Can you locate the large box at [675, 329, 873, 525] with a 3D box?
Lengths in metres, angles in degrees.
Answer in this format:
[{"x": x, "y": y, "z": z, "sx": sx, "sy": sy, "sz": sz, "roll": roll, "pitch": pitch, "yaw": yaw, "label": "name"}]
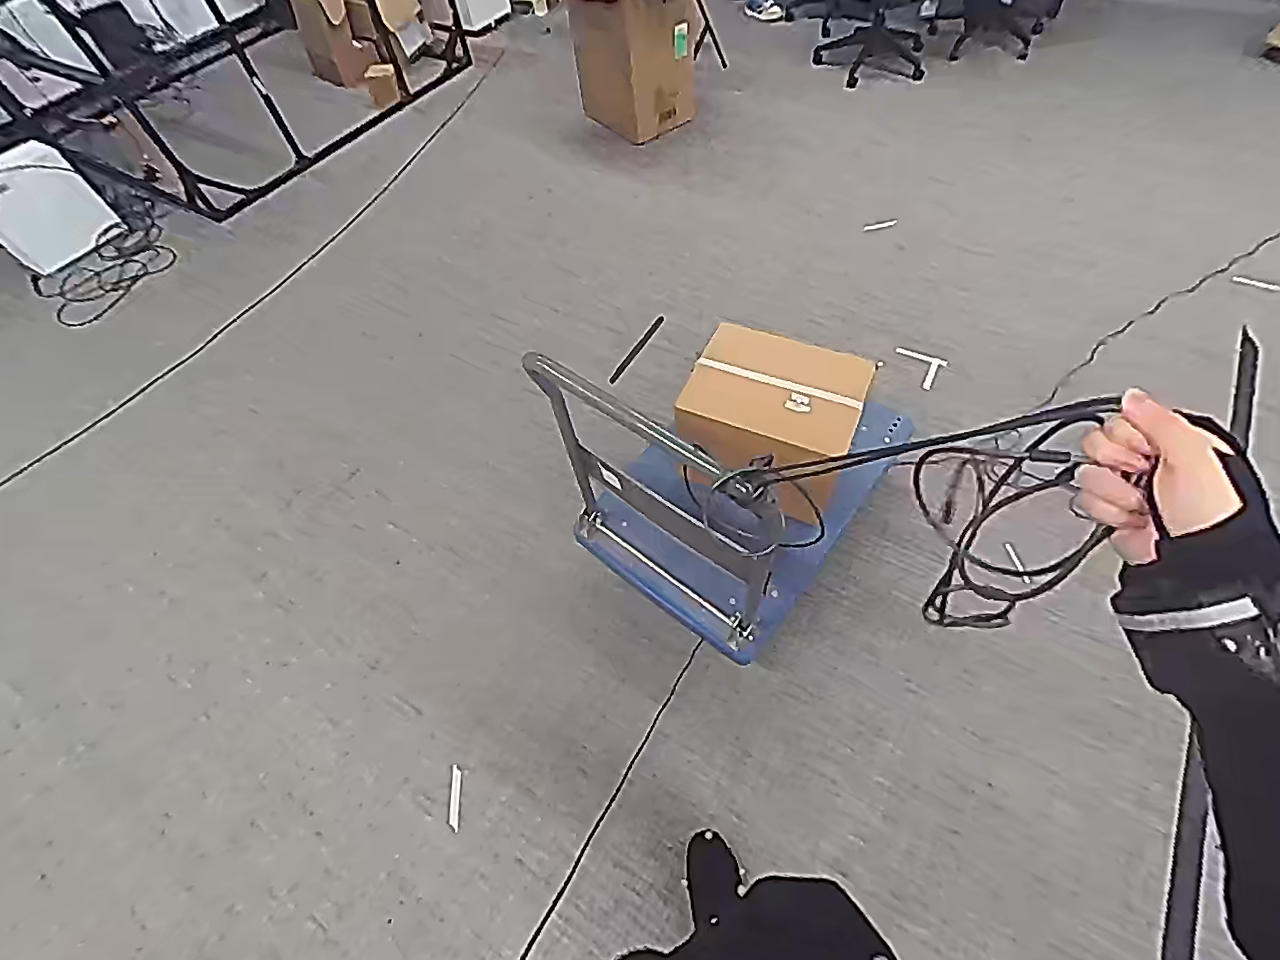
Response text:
[{"x": 0.331, "y": -0.136, "z": 1.411, "sx": 0.408, "sy": 0.320, "sz": 0.320, "roll": 20, "pitch": 62, "yaw": 17, "label": "large box"}]
